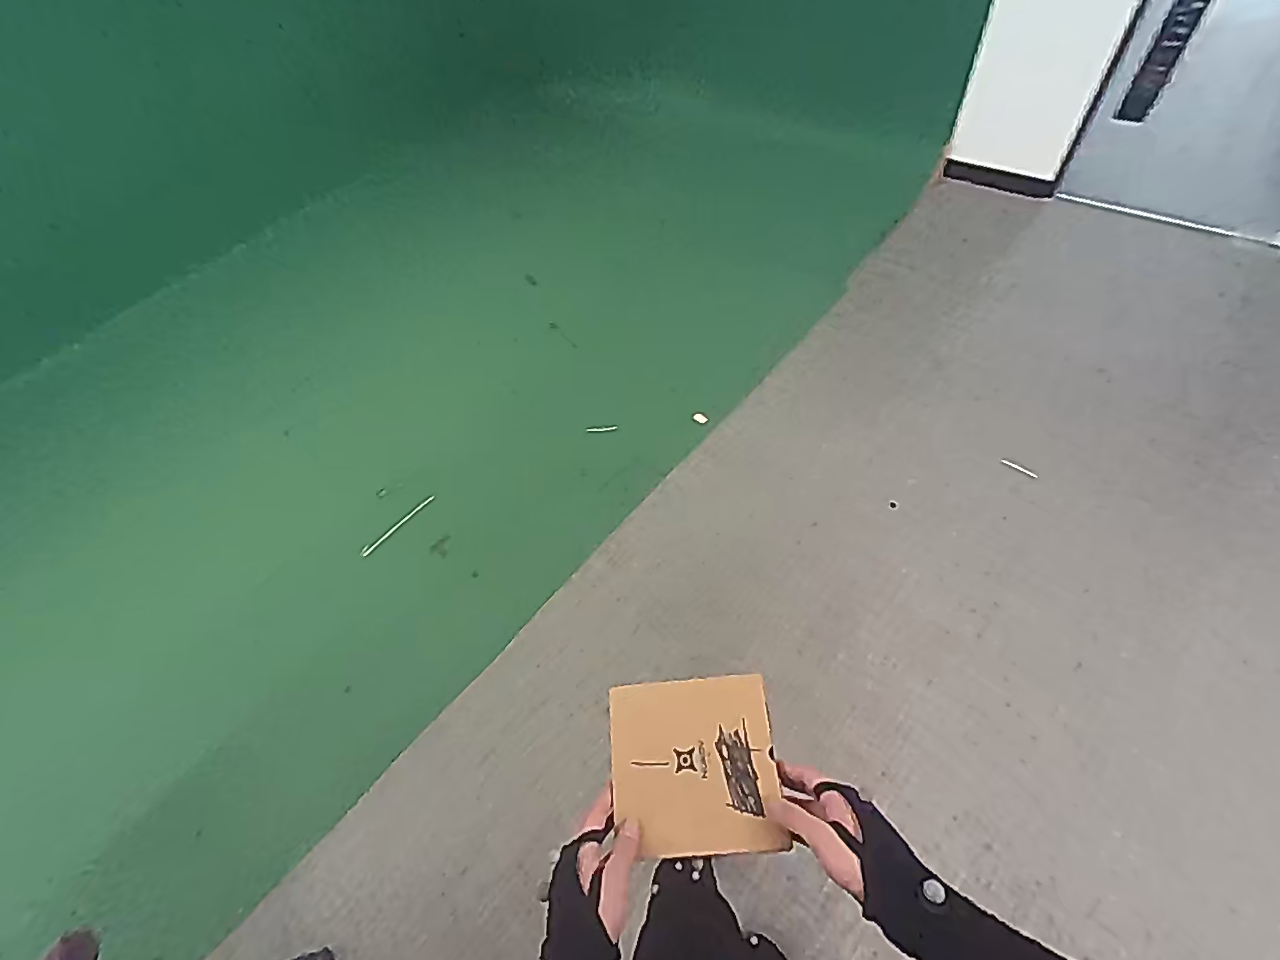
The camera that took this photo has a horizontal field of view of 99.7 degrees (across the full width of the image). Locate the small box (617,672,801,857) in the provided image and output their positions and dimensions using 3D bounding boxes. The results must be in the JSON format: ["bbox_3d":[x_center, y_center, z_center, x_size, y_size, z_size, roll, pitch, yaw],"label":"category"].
[{"bbox_3d":[0.071,0.327,0.622,0.179,0.176,0.168,-6,57,4],"label":"small box"}]
